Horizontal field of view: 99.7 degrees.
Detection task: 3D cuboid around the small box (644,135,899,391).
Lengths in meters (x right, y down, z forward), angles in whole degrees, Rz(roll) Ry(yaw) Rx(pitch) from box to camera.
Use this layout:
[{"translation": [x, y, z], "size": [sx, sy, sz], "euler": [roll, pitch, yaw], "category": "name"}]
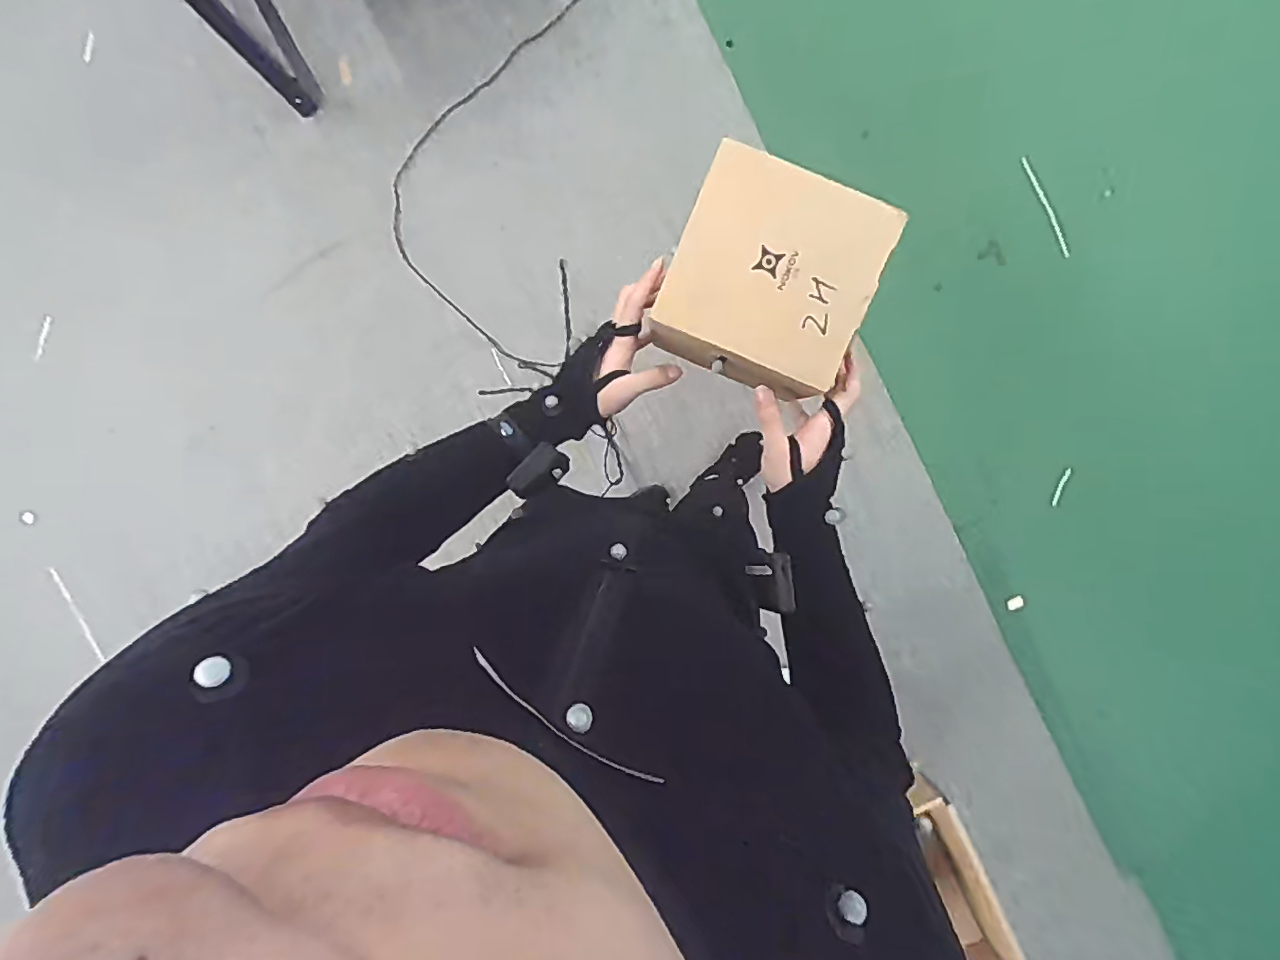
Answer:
[{"translation": [0.116, -0.198, 0.550], "size": [0.179, 0.176, 0.168], "euler": [23, 96, 0], "category": "small box"}]
